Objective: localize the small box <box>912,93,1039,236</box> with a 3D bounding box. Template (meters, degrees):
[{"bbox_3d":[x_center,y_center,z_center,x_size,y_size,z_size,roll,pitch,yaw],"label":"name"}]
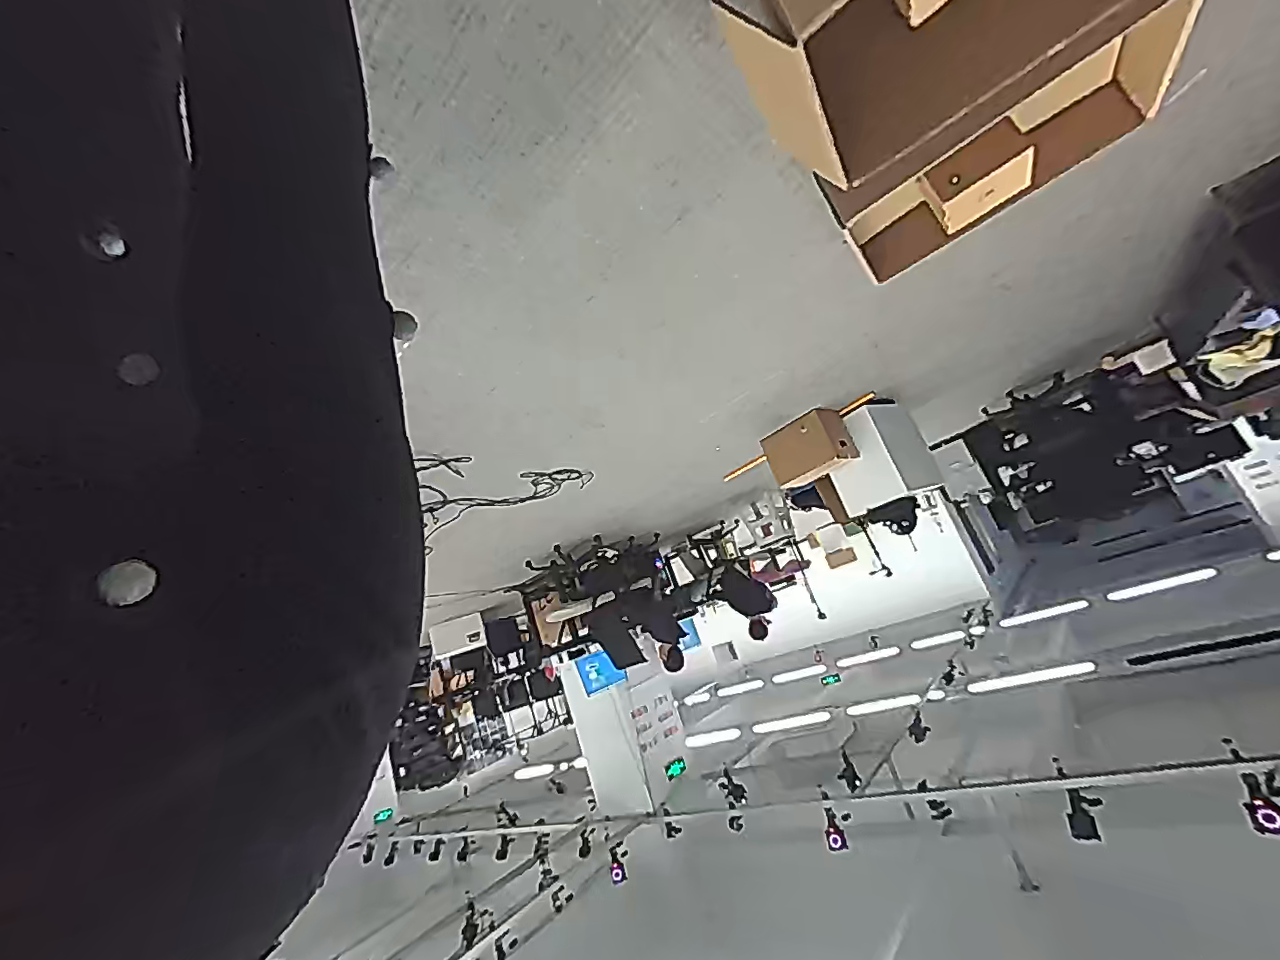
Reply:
[{"bbox_3d":[0.726,-0.681,1.177,0.179,0.176,0.168,-29,163,30],"label":"small box"}]
